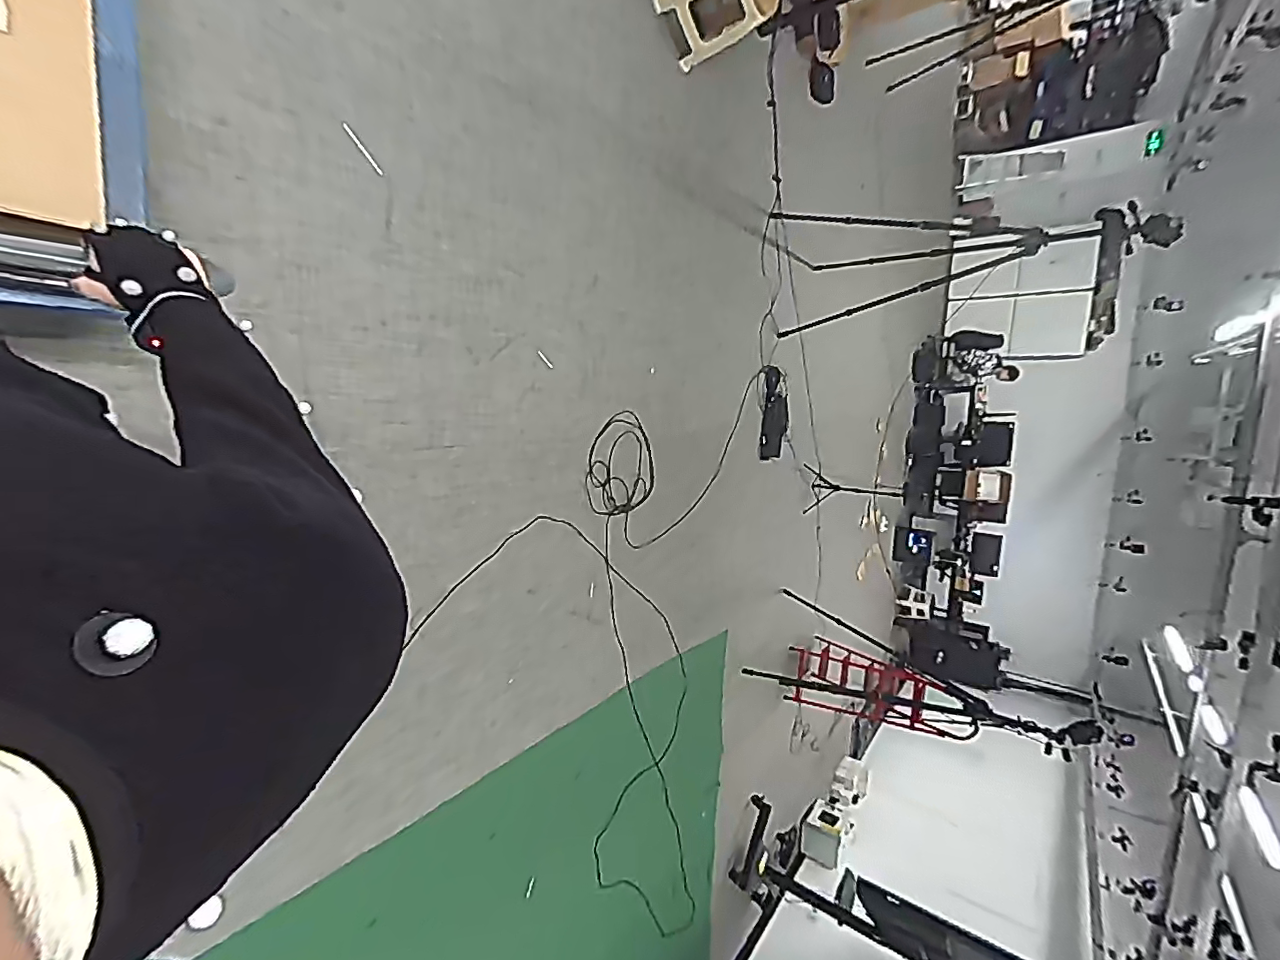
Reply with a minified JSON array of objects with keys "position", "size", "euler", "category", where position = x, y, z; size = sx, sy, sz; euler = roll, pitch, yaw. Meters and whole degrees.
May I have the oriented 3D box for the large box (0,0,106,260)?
[{"position":[-1.039,-0.580,0.788],"size":[0.320,0.320,0.408],"euler":[-8,101,-52],"category":"large box"}]
